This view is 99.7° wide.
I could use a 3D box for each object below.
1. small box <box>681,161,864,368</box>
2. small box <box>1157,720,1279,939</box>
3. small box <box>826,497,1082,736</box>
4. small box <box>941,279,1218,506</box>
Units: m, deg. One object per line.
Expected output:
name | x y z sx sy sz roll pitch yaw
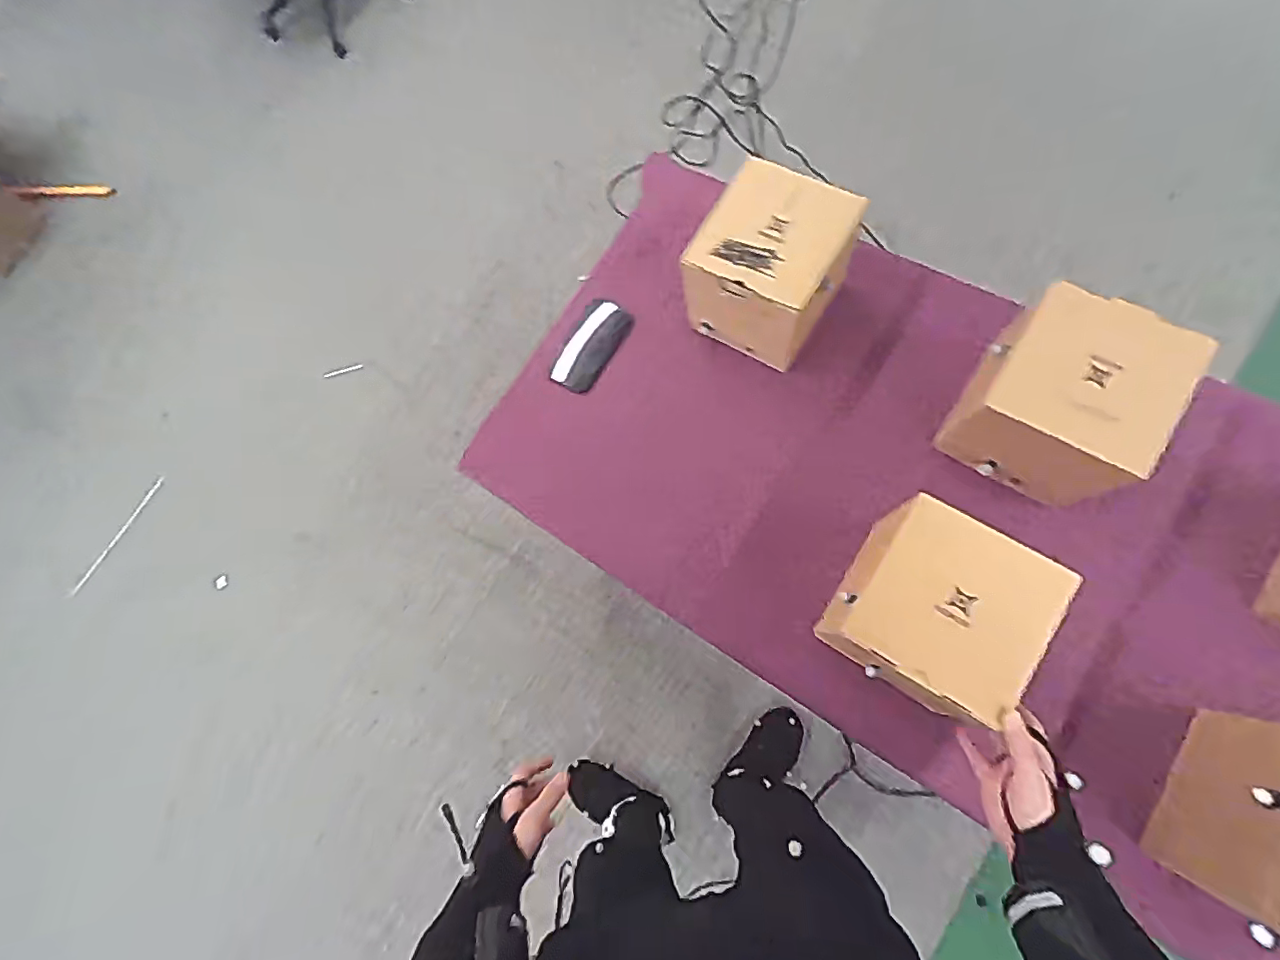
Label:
small box | 0.178 -0.284 0.745 0.168 0.176 0.179 31 83 16
small box | 0.645 0.350 0.496 0.168 0.176 0.179 30 83 18
small box | 0.330 0.147 0.610 0.168 0.176 0.179 31 83 16
small box | 0.495 -0.092 0.643 0.168 0.176 0.179 32 84 17
